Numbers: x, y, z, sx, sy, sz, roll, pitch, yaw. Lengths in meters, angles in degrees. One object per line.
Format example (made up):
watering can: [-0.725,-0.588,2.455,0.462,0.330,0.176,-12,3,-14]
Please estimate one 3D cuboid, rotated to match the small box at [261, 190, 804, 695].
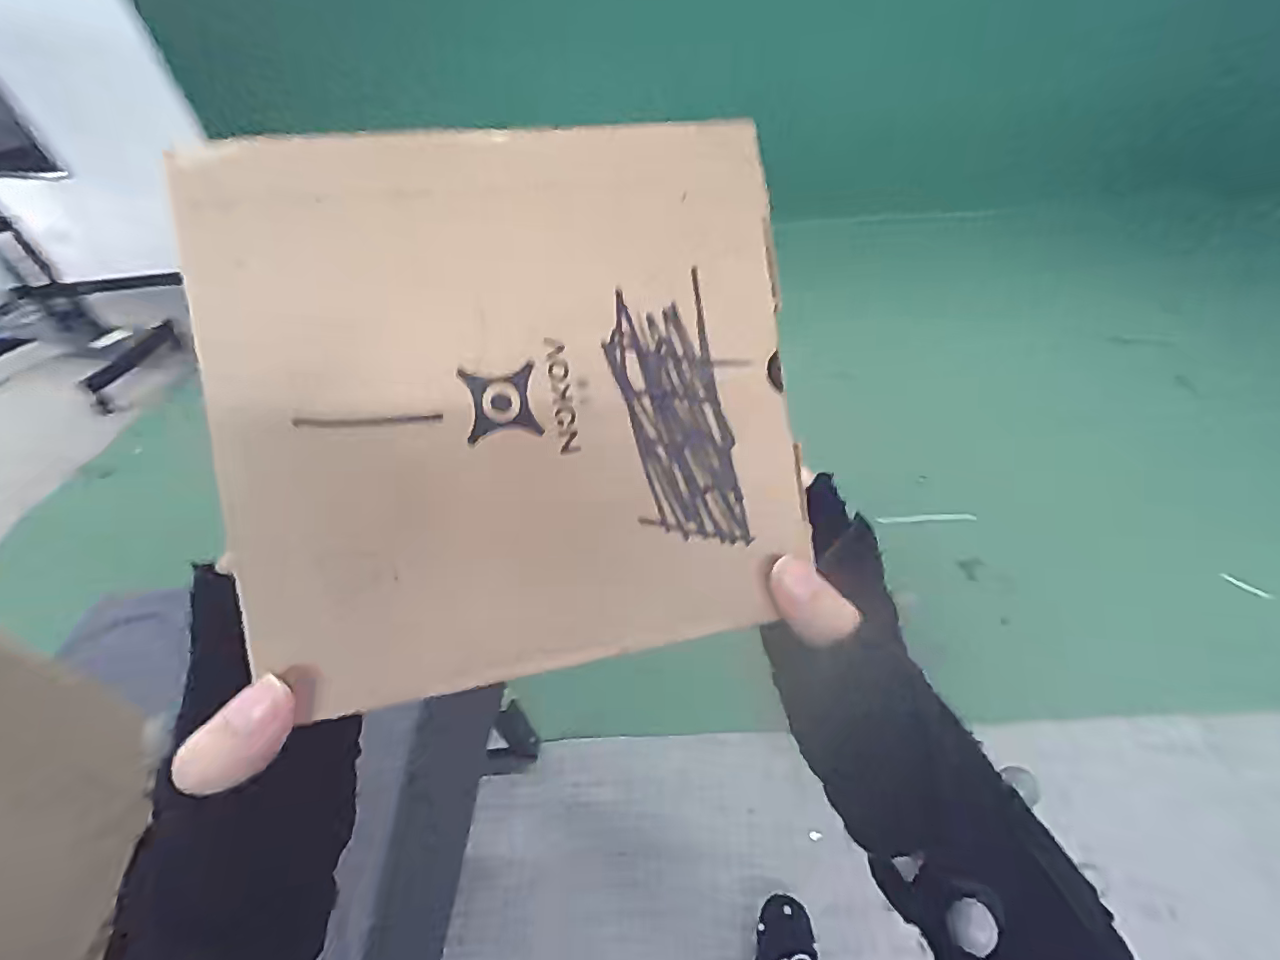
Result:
small box: [-0.045,-0.019,0.269,0.179,0.168,0.176,-7,0,-11]
